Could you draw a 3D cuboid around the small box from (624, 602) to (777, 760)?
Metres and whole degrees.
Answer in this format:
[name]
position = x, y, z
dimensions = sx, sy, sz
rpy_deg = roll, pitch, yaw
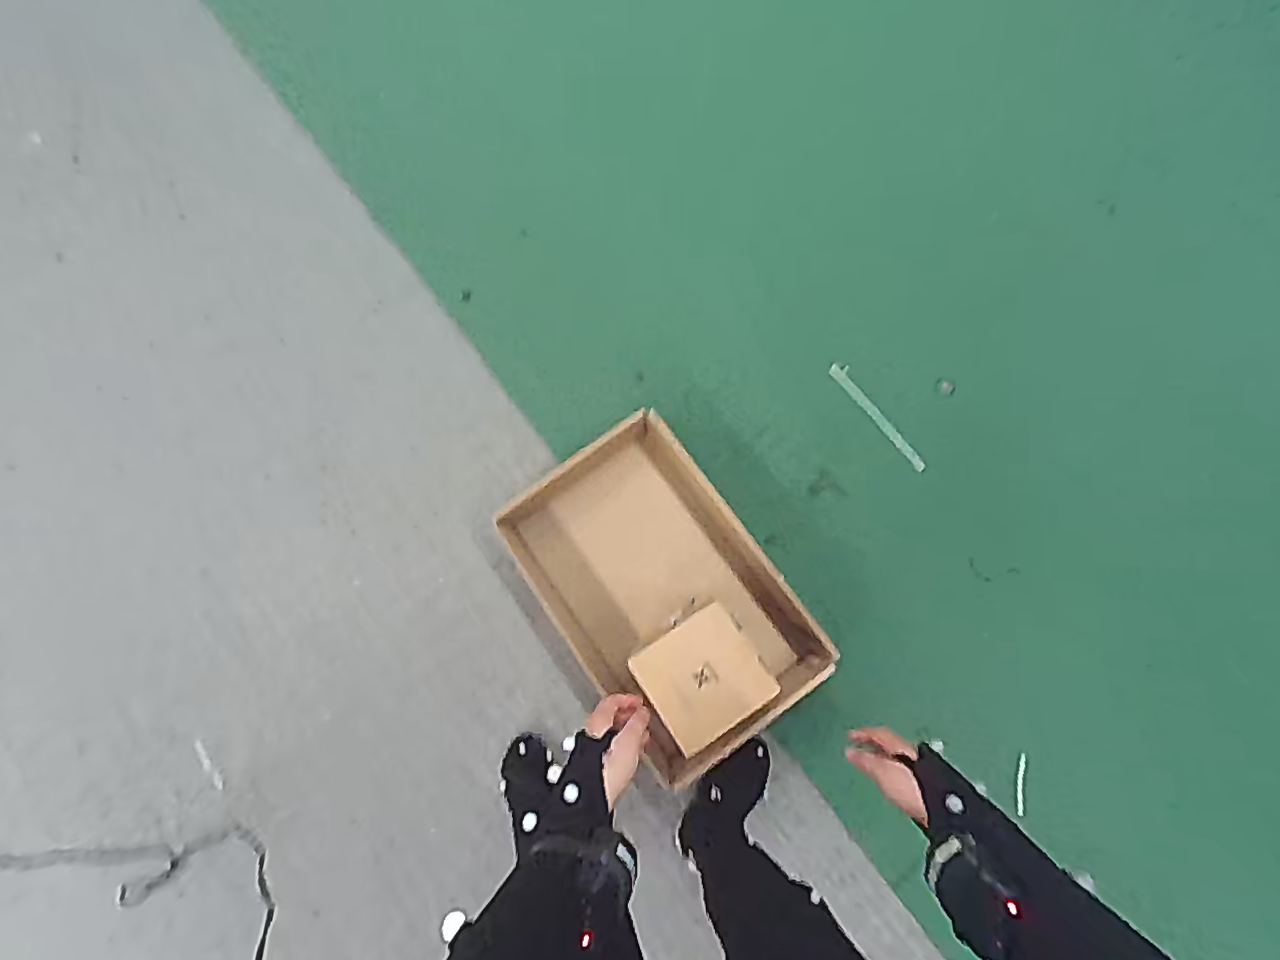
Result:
[small box]
position = 0.093, 0.314, 0.889
dimensions = 0.179, 0.176, 0.168
rpy_deg = -34, 79, -3
